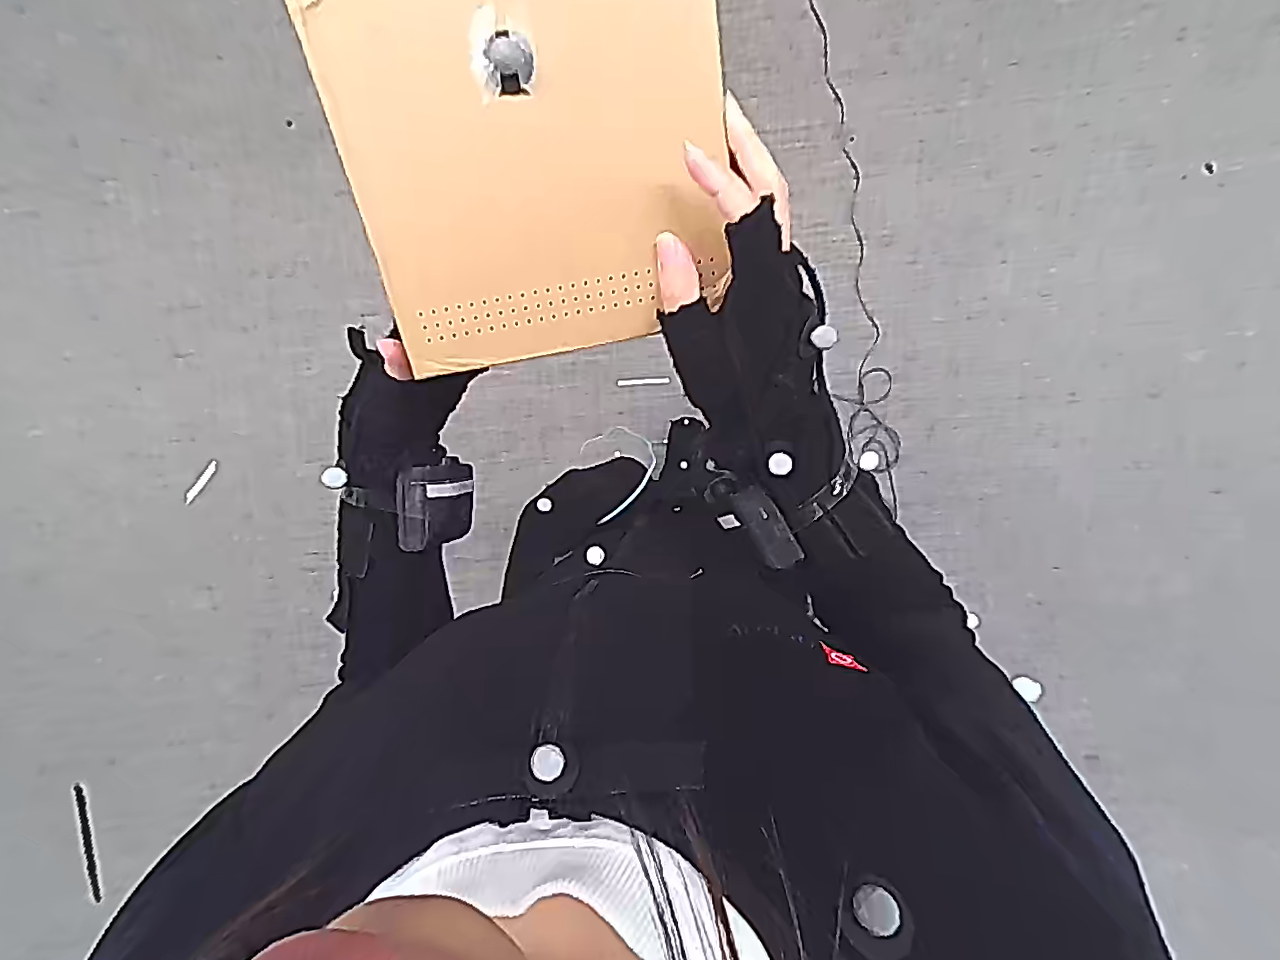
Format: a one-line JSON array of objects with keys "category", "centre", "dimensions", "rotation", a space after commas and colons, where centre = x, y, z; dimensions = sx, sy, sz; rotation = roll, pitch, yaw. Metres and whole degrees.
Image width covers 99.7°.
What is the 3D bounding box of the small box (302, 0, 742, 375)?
[{"category": "small box", "centre": [-0.047, -0.170, 0.326], "dimensions": [0.179, 0.168, 0.176], "rotation": [-10, 115, 0]}]
